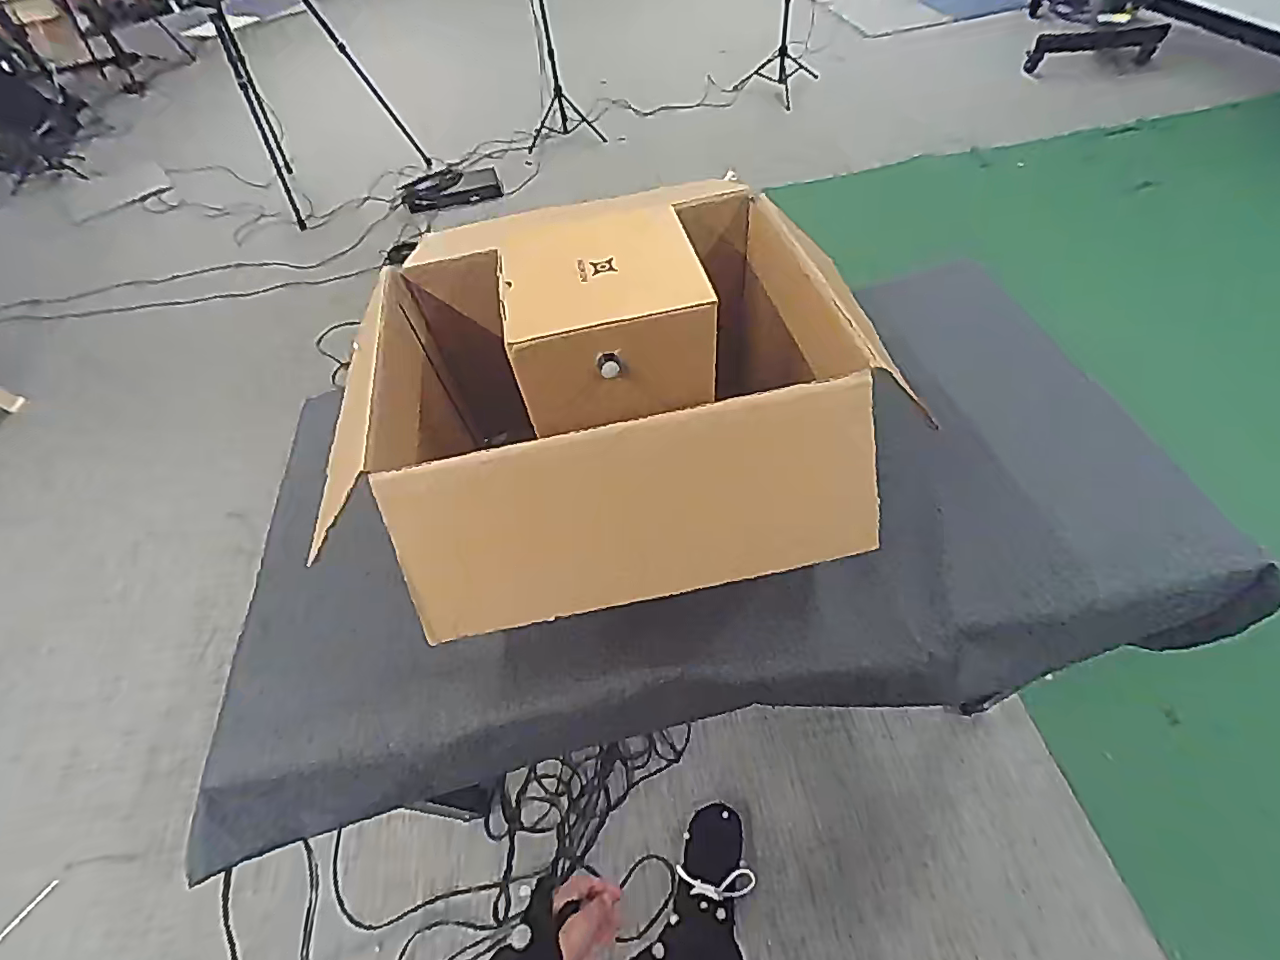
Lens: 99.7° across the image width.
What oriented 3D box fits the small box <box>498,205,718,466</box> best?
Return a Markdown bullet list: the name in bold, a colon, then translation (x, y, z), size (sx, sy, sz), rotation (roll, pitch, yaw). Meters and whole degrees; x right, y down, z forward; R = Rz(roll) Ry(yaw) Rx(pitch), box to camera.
- **small box**: translation (-0.030, -0.137, 0.536), size (0.179, 0.176, 0.168), rotation (-12, 53, -2)
